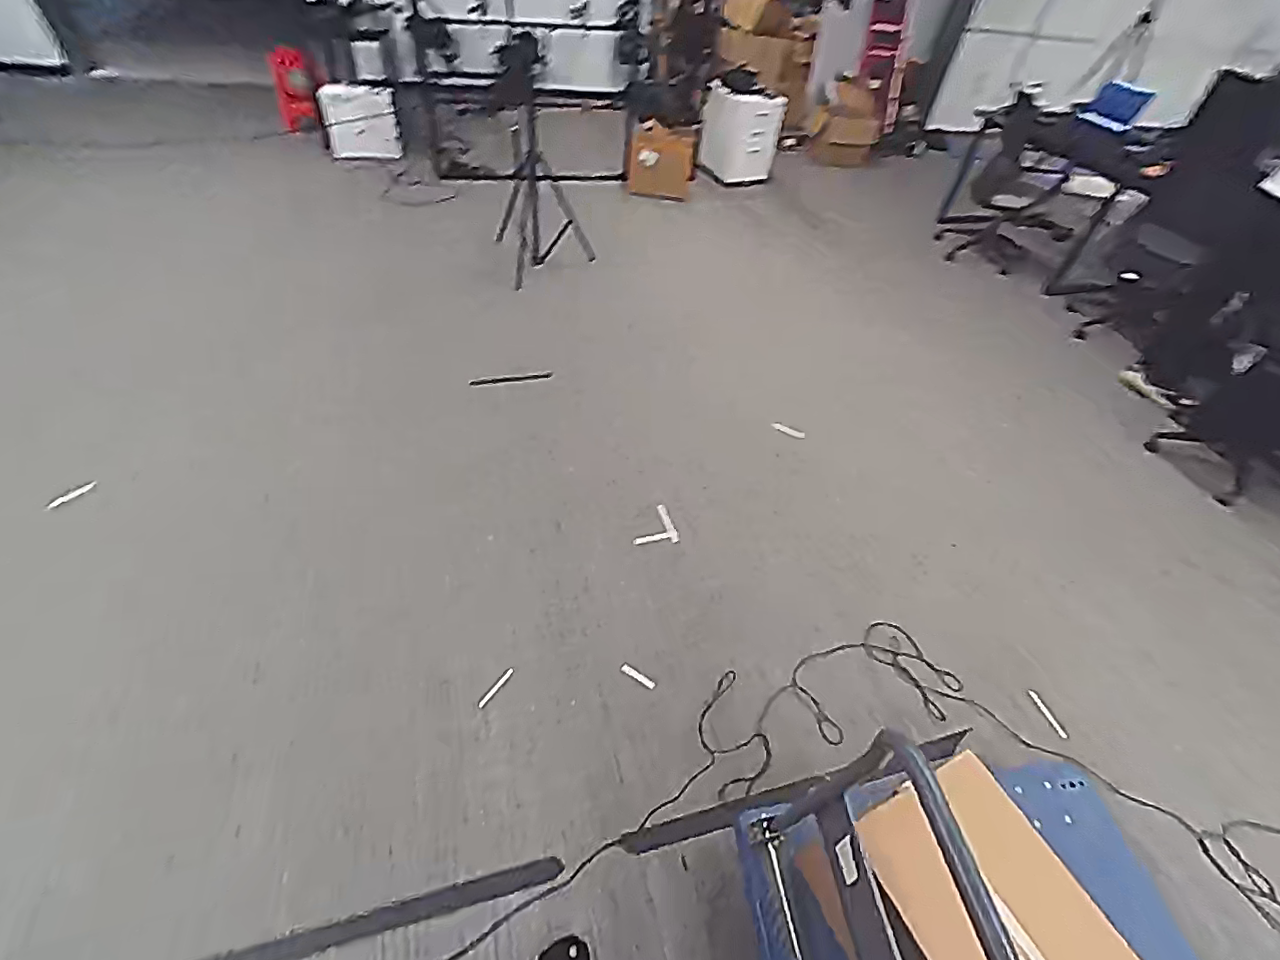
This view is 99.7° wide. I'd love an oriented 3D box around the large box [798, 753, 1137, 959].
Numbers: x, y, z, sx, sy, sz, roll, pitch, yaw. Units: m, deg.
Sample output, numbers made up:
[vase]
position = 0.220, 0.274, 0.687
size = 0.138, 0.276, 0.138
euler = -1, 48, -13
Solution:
[large box]
position = 0.561, 0.792, 0.969
size = 0.320, 0.320, 0.408
euler = -16, 52, -20
